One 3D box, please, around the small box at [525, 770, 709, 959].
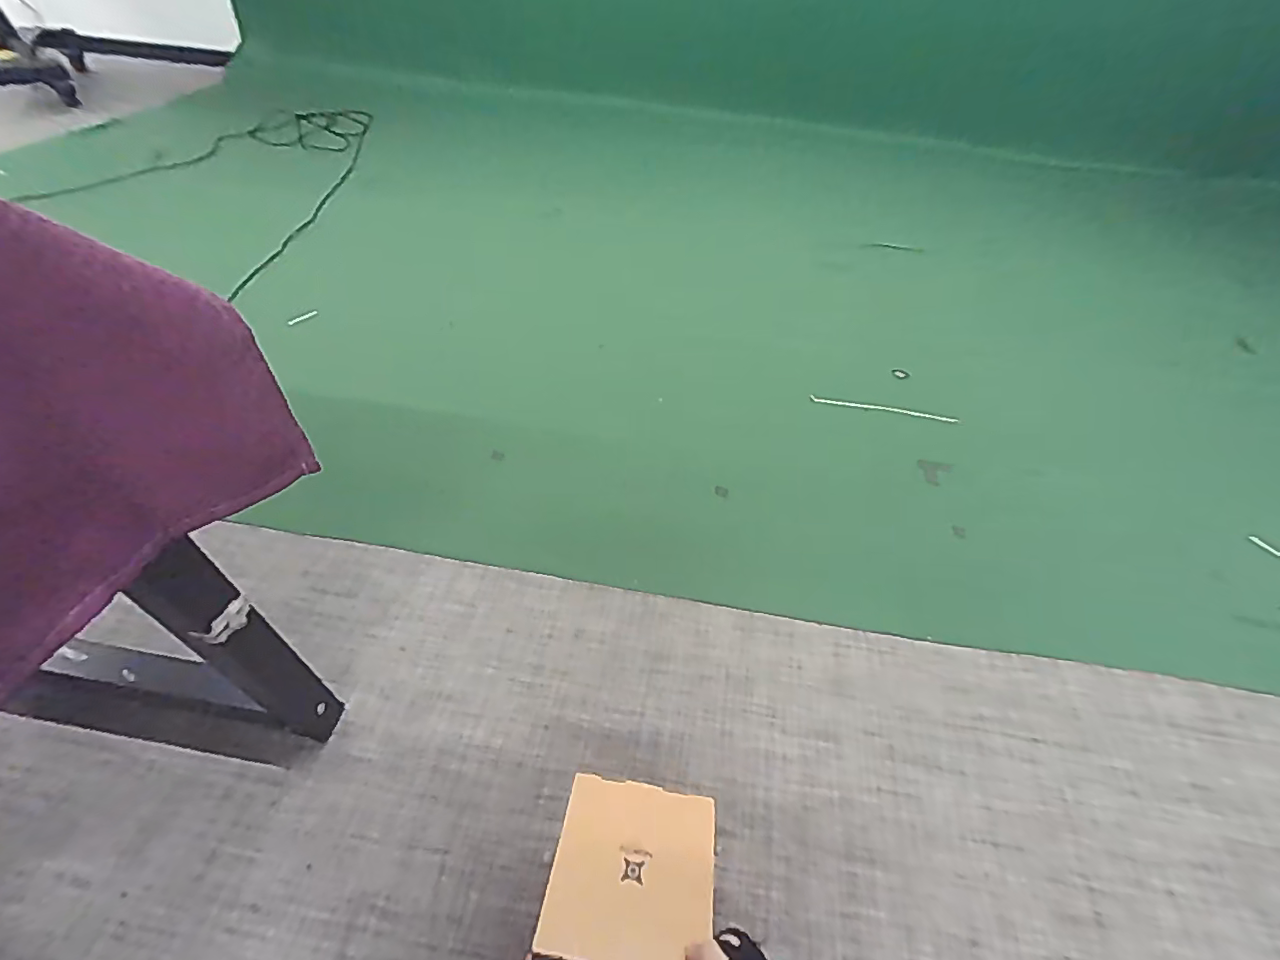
[{"bbox_3d":[-0.020,0.464,0.596,0.168,0.176,0.179,9,28,4],"label":"small box"}]
